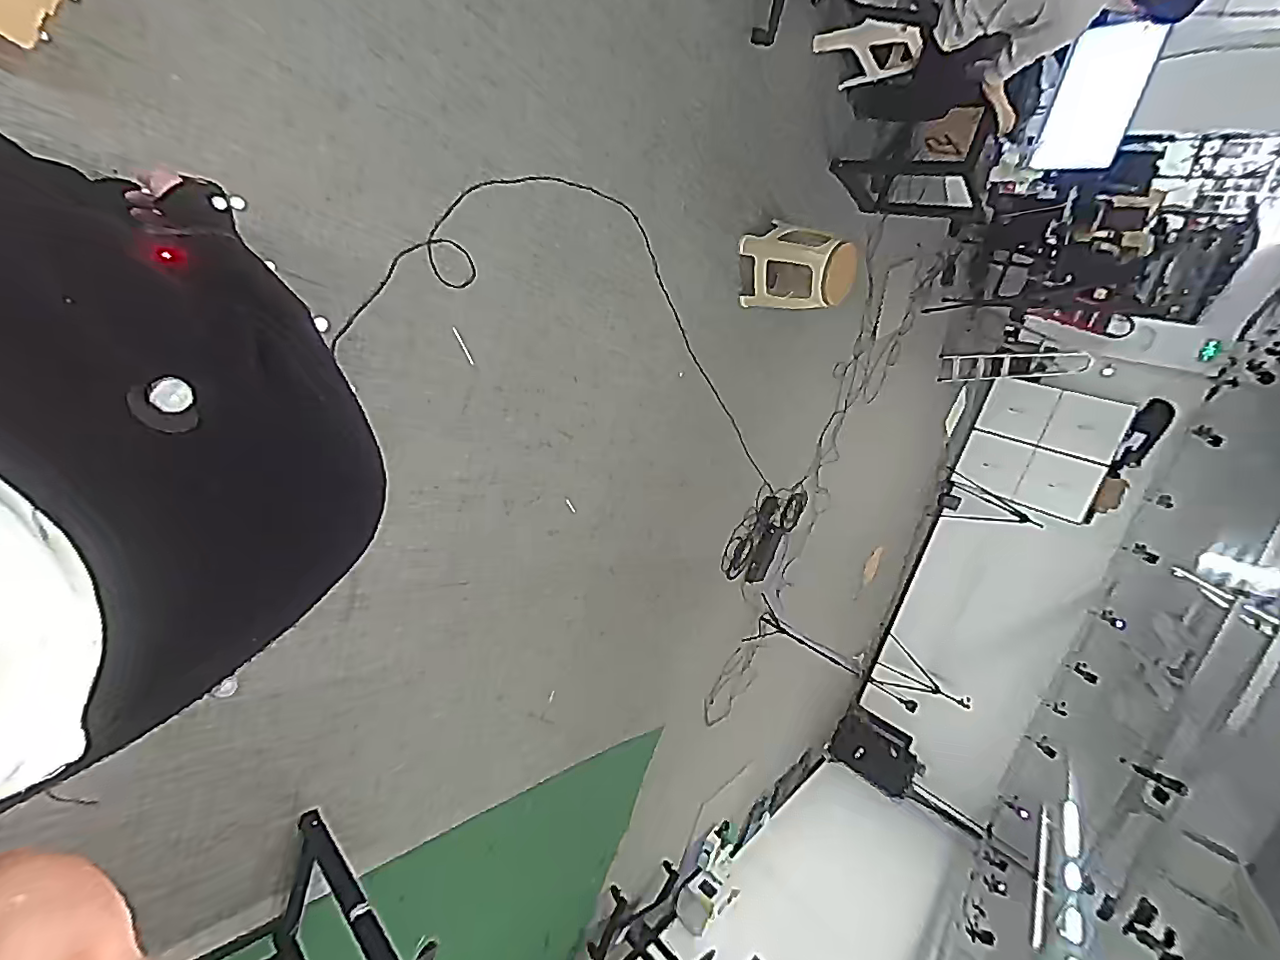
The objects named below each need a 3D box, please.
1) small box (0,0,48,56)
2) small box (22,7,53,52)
[{"bbox_3d":[-0.923,-0.713,0.723,0.179,0.176,0.168,26,88,-52],"label":"small box"},{"bbox_3d":[-1.035,-0.772,0.813,0.179,0.176,0.168,-22,125,-40],"label":"small box"}]
